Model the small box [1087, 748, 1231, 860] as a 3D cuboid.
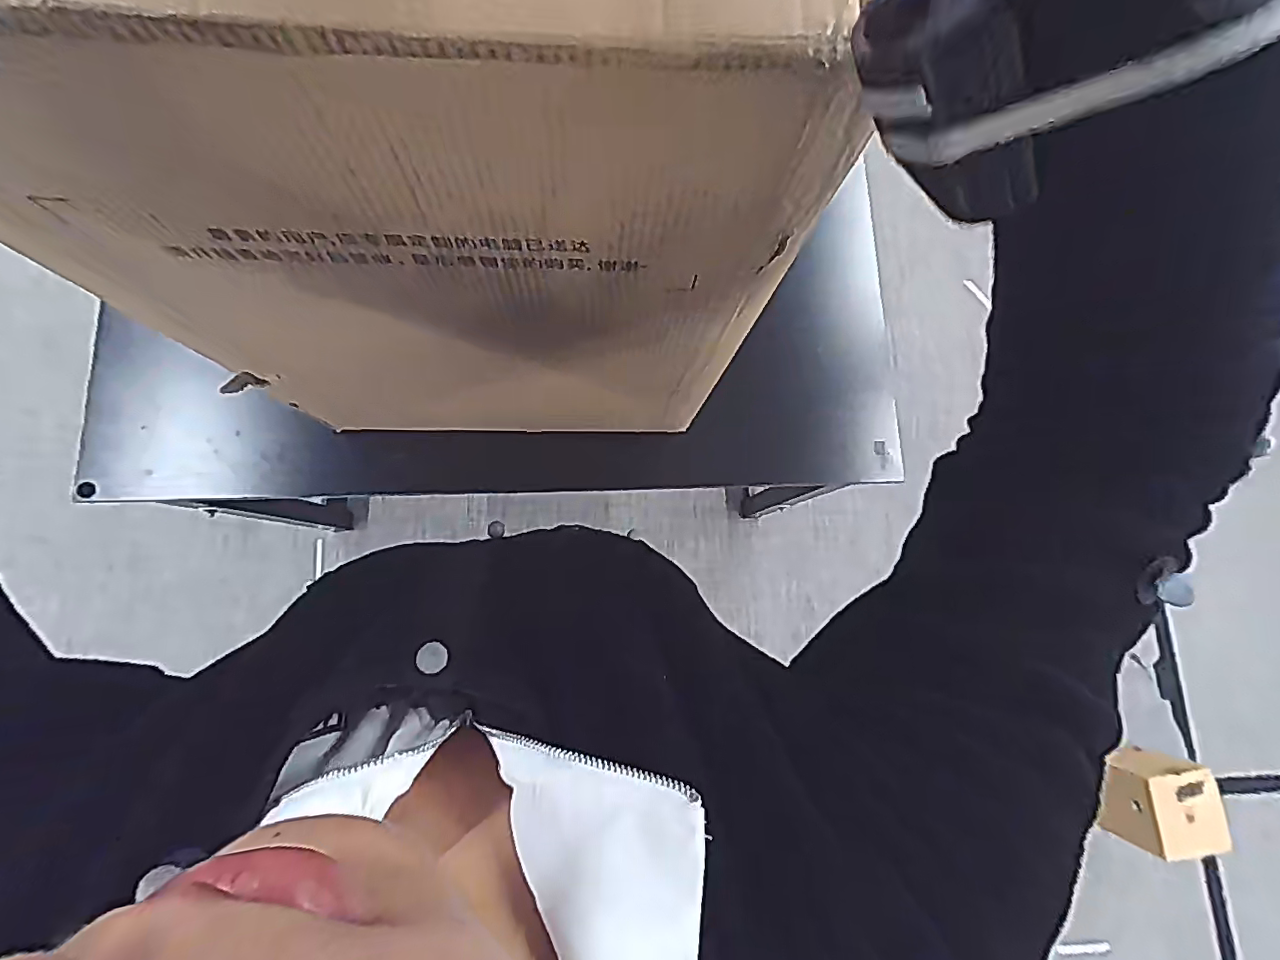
[{"bbox_3d":[1.216,0.756,1.284,0.168,0.176,0.179,-6,81,-5],"label":"small box"}]
